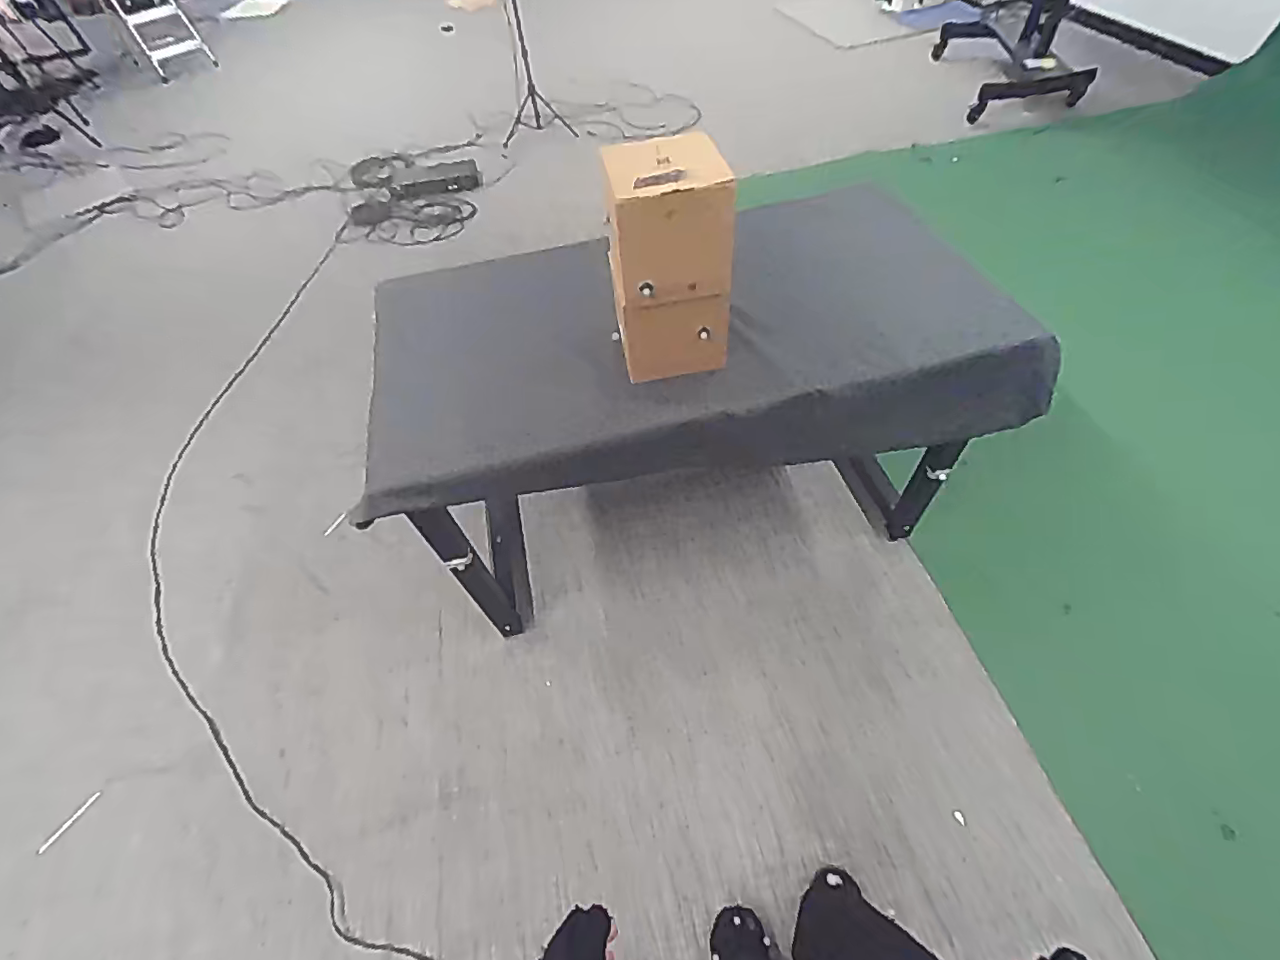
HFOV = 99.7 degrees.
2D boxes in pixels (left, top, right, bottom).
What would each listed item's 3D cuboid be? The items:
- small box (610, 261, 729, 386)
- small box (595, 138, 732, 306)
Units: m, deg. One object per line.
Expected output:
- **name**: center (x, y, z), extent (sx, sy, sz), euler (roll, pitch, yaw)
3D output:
- **small box**: center (0.051, -0.293, 0.966), extent (0.179, 0.176, 0.168), euler (-12, 52, -1)
- **small box**: center (0.036, -0.387, 0.832), extent (0.168, 0.176, 0.179), euler (-13, 54, -4)
